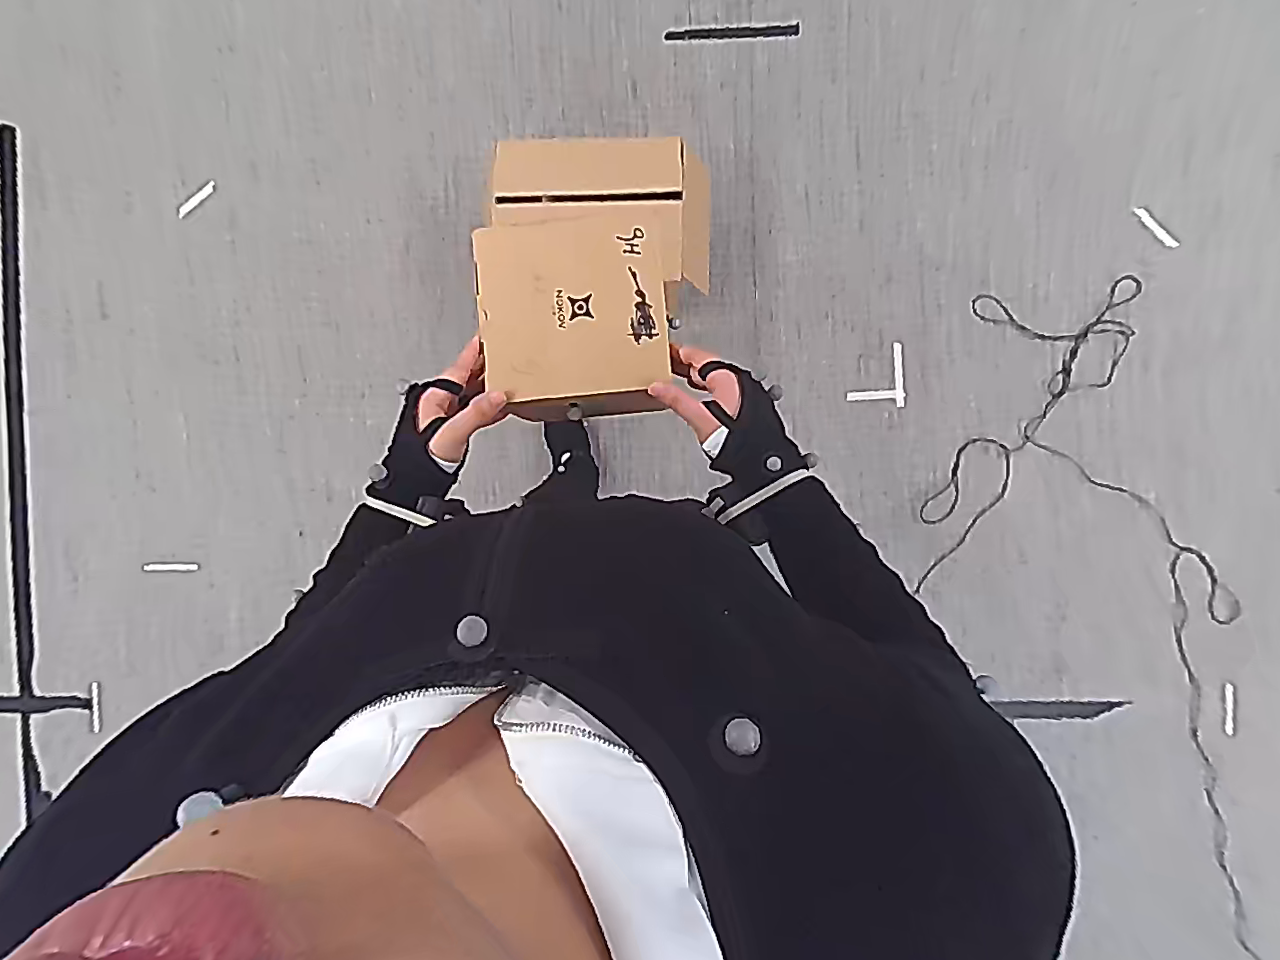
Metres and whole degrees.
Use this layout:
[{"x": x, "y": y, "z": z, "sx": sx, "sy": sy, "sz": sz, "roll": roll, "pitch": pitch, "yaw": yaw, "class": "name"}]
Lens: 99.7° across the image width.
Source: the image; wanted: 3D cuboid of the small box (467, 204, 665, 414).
[{"x": -0.067, "y": -0.167, "z": 0.581, "sx": 0.179, "sy": 0.176, "sz": 0.168, "roll": -5, "pitch": 90, "yaw": 2, "class": "small box"}]
